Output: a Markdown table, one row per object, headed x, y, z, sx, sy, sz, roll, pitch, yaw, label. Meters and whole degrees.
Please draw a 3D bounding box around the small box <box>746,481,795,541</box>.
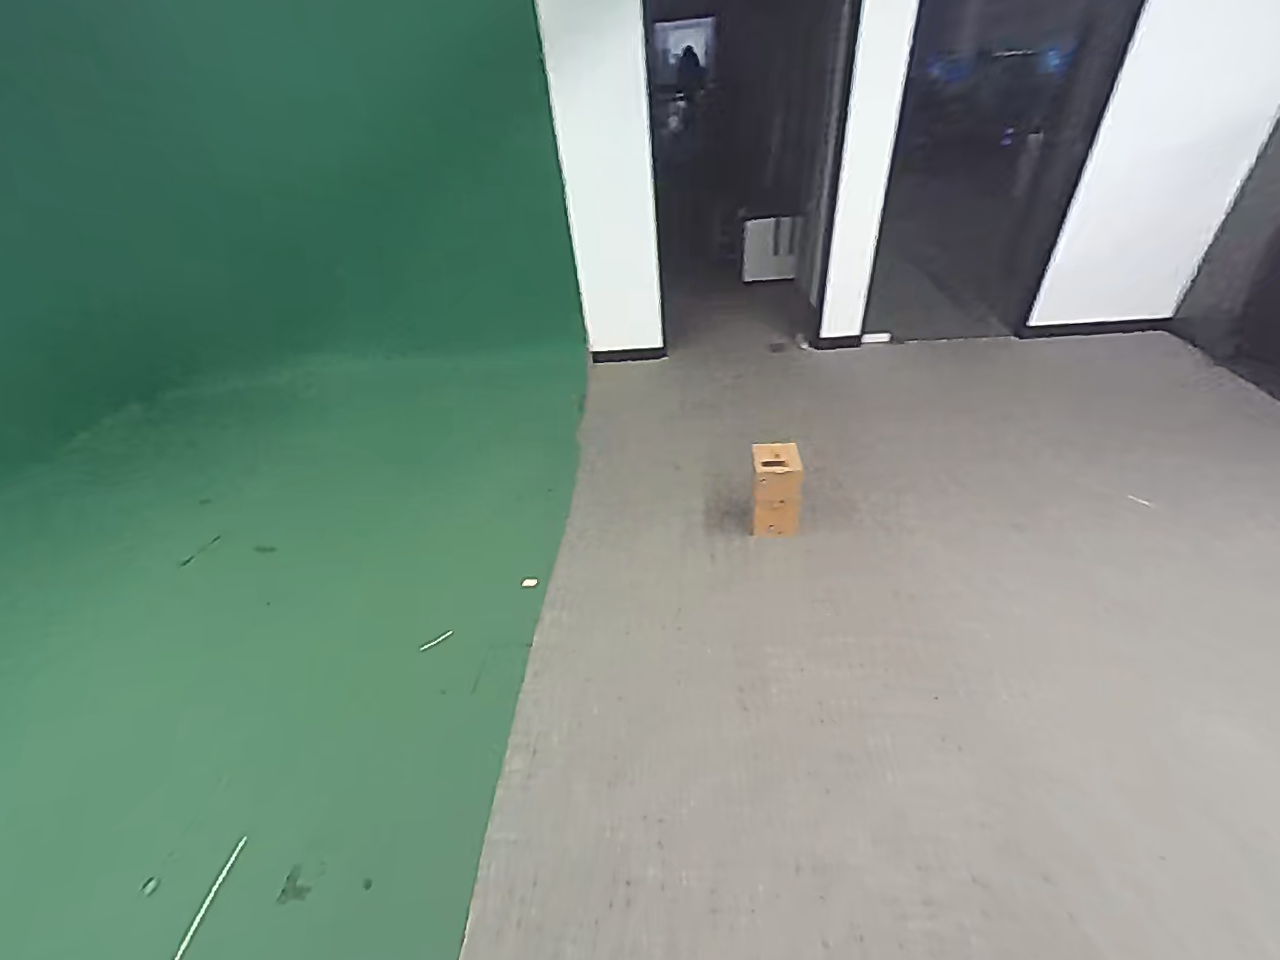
| x | y | z | sx | sy | sz | roll | pitch | yaw | label |
| --- | --- | --- | --- | --- | --- | --- | --- | --- | --- |
| 0.515 | 0.123 | 2.156 | 0.168 | 0.176 | 0.179 | -1 | 39 | 5 | small box |
